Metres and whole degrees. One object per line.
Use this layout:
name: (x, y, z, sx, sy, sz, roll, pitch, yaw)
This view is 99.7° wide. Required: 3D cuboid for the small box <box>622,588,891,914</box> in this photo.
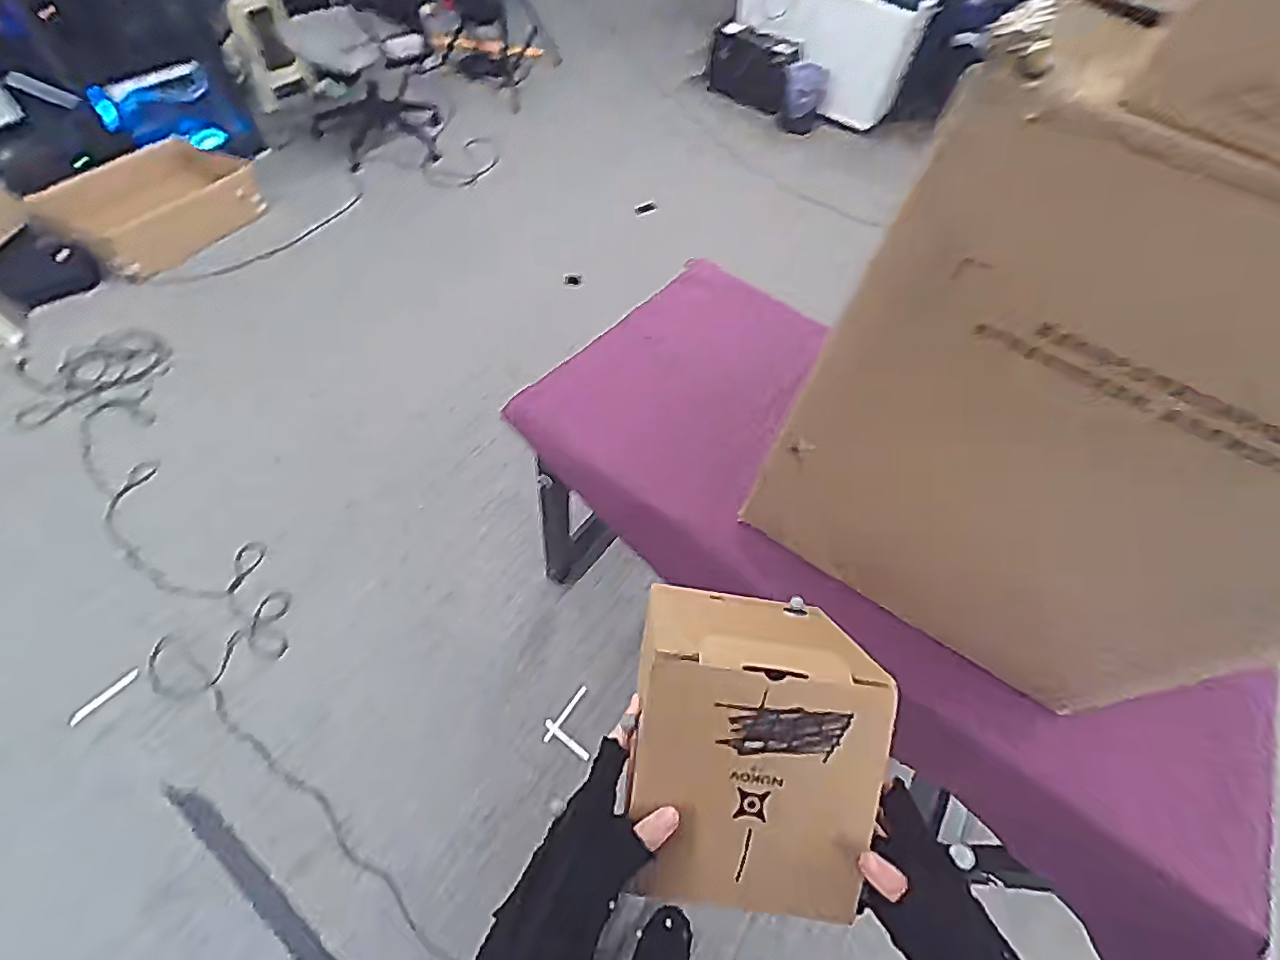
small box: (0.077, 0.197, 0.443, 0.168, 0.176, 0.179, 7, 93, -1)
